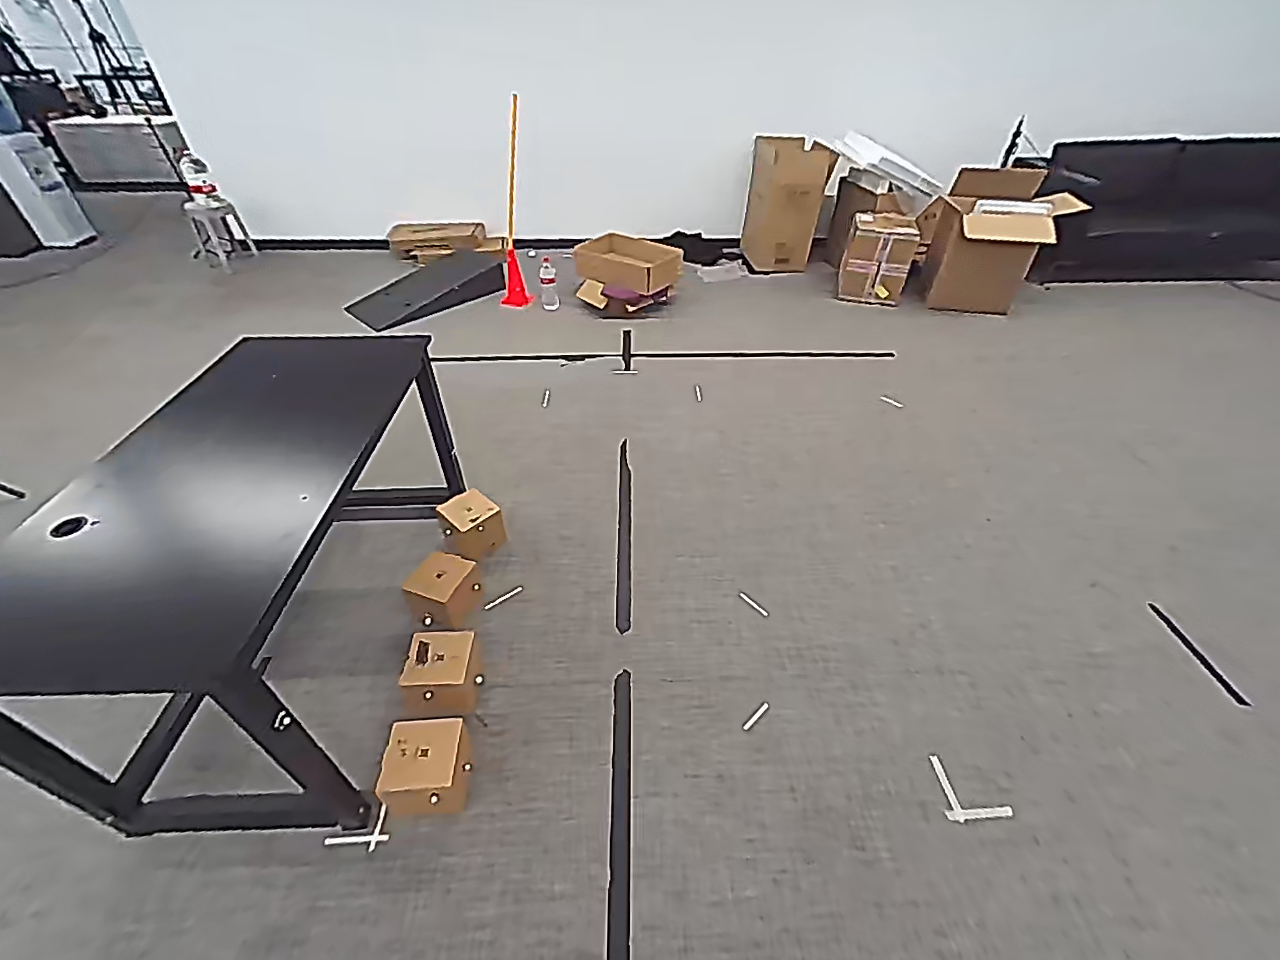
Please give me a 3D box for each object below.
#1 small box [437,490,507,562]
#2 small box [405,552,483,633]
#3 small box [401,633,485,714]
[{"bbox_3d":[-0.622,0.173,2.016,0.179,0.176,0.168,31,49,30],"label":"small box"},{"bbox_3d":[-0.637,0.373,1.789,0.168,0.176,0.179,13,43,15],"label":"small box"},{"bbox_3d":[-0.563,0.563,1.567,0.179,0.176,0.168,0,41,-3],"label":"small box"}]
